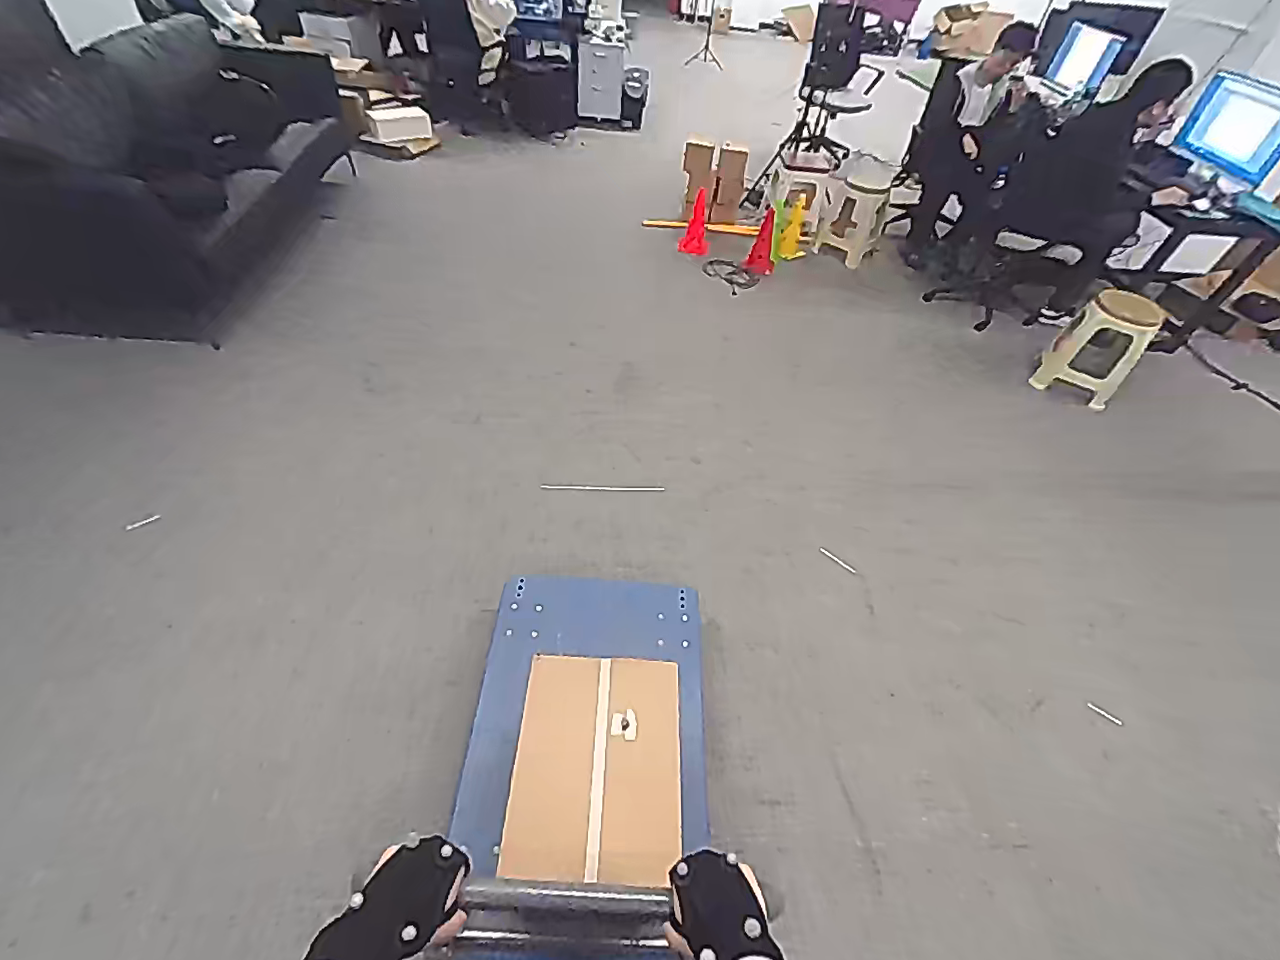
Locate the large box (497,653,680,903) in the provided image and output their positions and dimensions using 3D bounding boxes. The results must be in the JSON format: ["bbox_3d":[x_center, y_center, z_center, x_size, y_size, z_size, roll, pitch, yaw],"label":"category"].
[{"bbox_3d":[-0.096,0.627,1.141,0.320,0.320,0.408,4,47,-3],"label":"large box"}]
